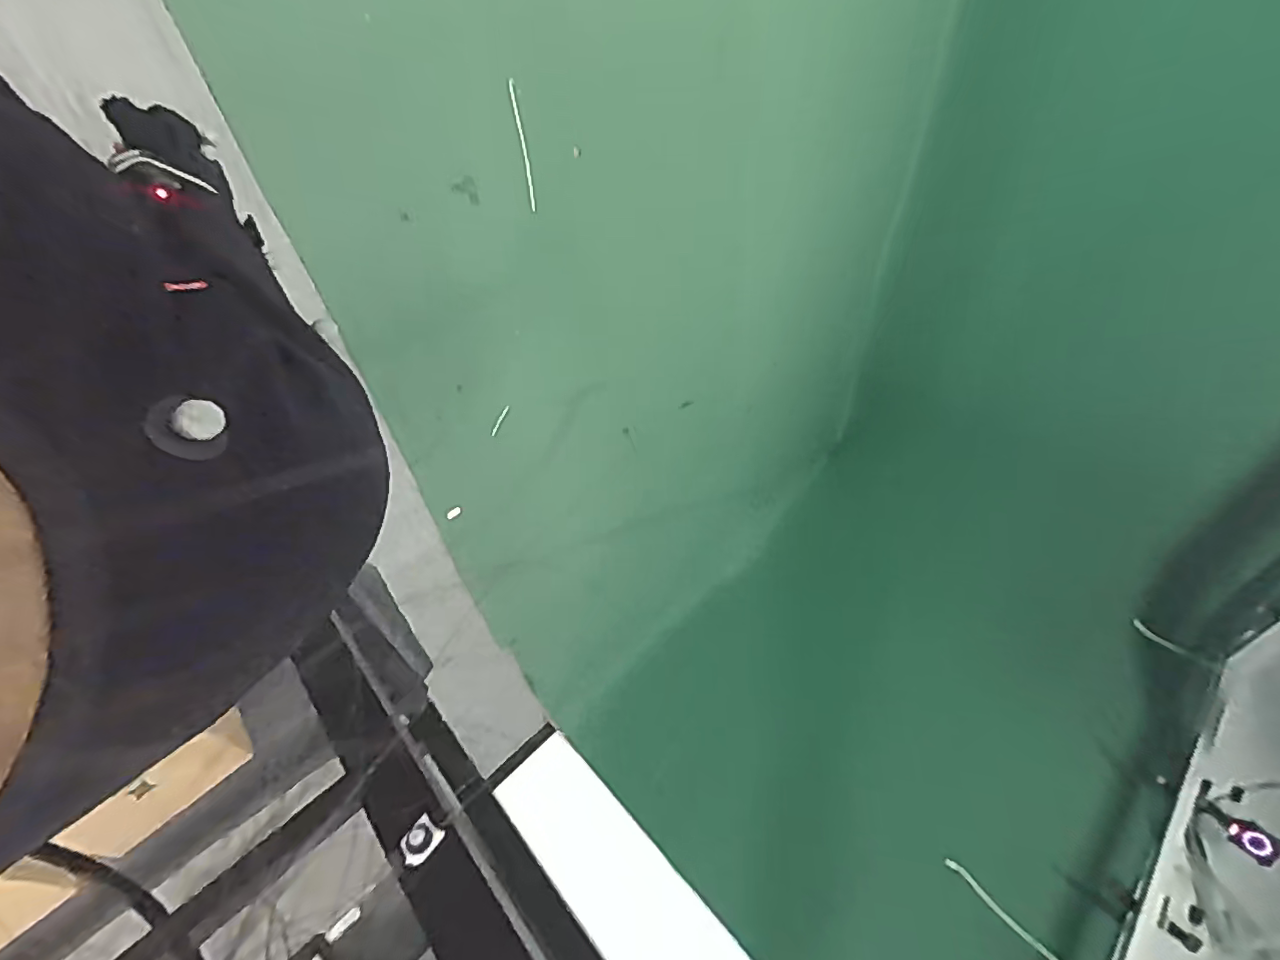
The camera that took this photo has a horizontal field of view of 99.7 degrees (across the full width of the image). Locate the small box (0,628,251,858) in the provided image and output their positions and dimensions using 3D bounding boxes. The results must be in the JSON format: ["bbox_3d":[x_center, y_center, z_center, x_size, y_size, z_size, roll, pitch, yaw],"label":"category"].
[{"bbox_3d":[-0.637,0.316,0.669,0.168,0.176,0.179,-38,143,-25],"label":"small box"}]
